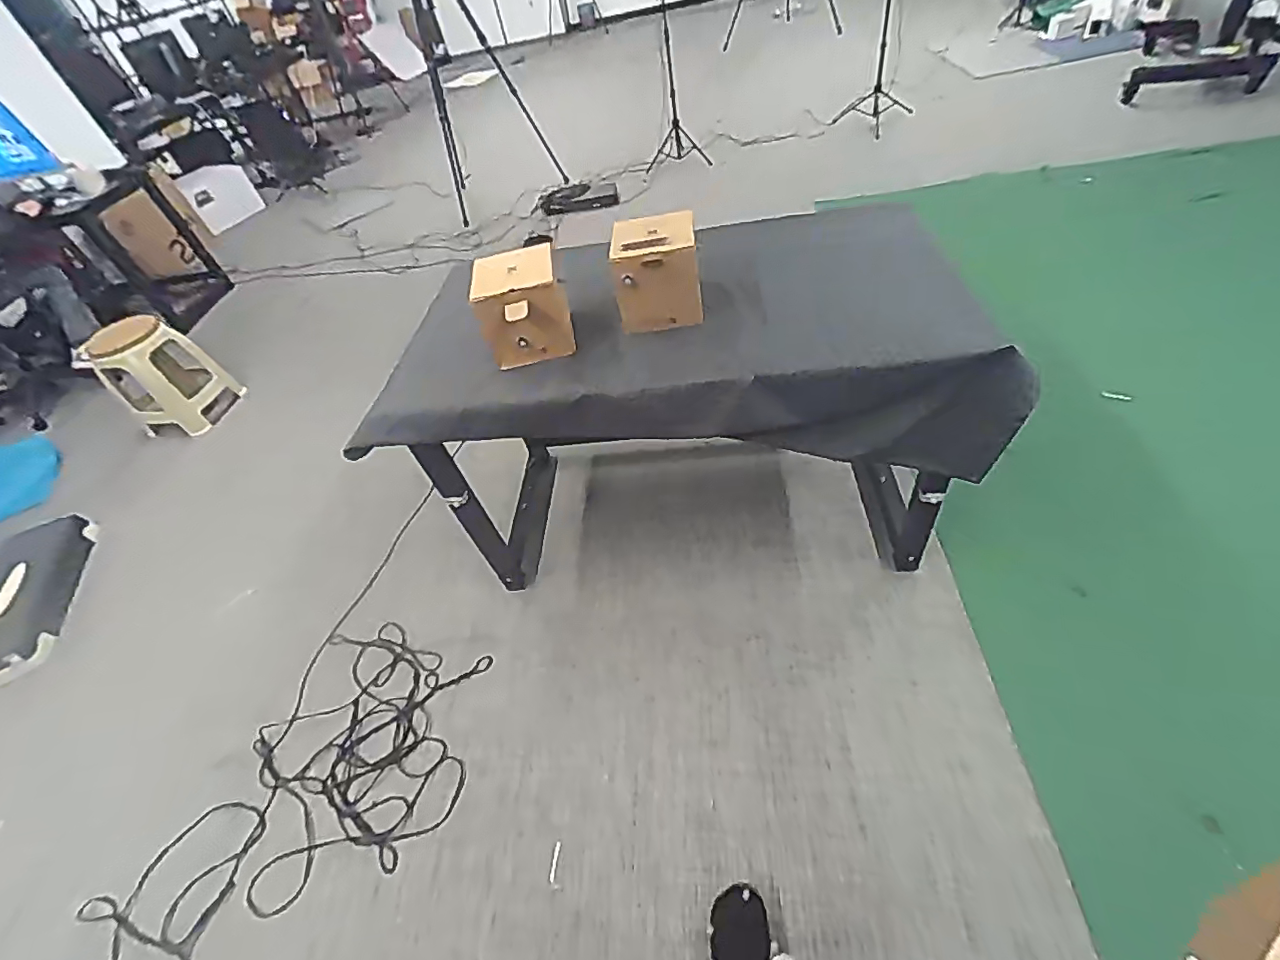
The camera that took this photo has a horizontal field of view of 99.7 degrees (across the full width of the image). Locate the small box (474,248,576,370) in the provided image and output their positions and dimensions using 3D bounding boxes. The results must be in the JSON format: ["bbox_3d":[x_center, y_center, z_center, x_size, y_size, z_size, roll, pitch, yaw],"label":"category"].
[{"bbox_3d":[-0.235,-0.357,1.136,0.168,0.176,0.179,-13,47,1],"label":"small box"}]

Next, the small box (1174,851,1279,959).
[{"bbox_3d":[0.547,0.430,0.410,0.179,0.176,0.168,-27,42,-25],"label":"small box"}]
